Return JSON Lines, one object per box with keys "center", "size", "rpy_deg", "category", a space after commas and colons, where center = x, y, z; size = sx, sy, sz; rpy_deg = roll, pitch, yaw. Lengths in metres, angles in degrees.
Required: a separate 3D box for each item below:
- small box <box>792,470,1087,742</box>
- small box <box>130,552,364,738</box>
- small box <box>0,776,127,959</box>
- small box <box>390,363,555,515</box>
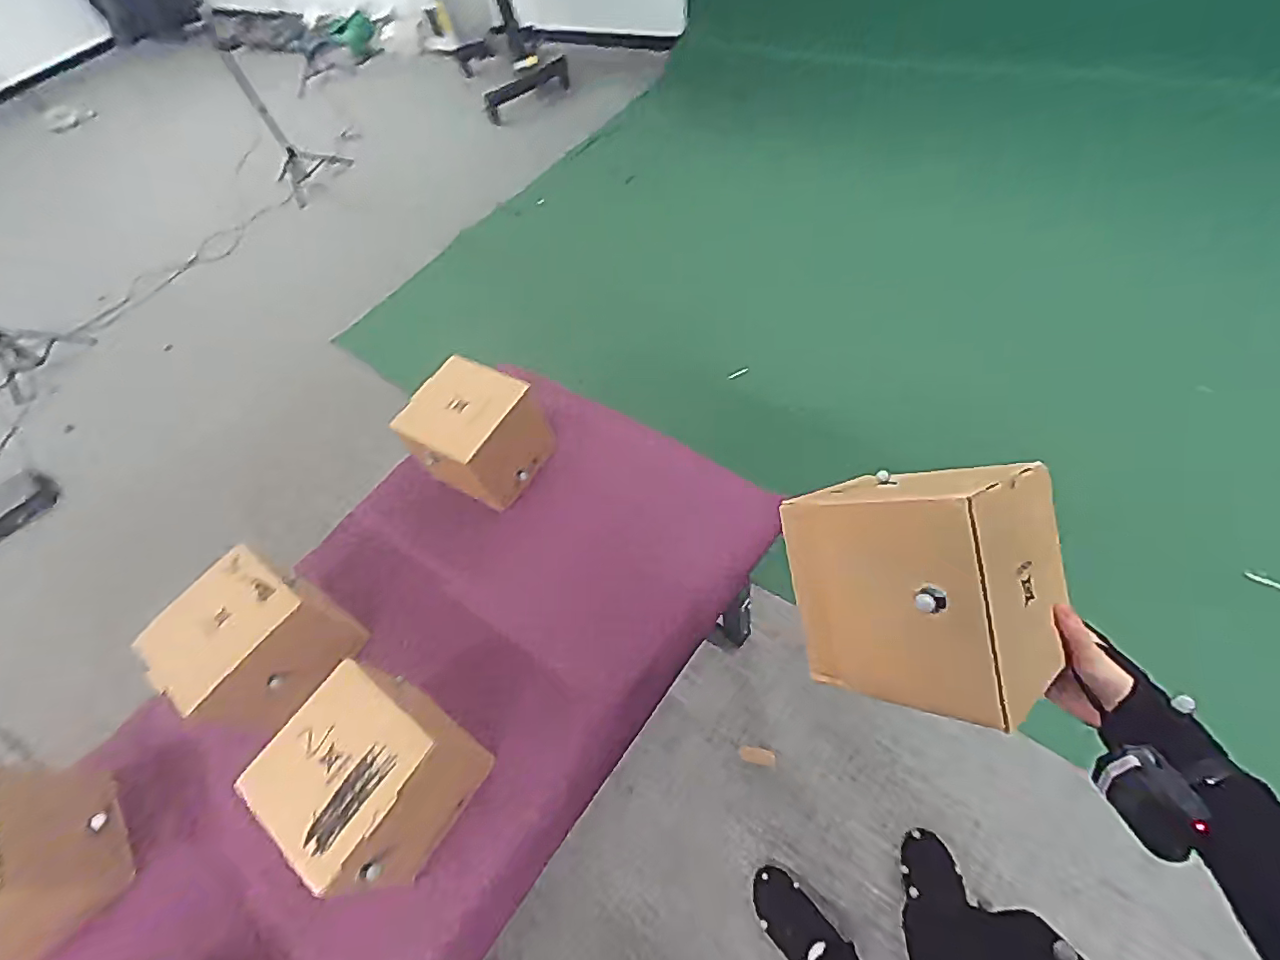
{"center": [0.261, 0.093, 0.484], "size": [0.168, 0.176, 0.179], "rpy_deg": [-11, 92, -38], "category": "small box"}
{"center": [-0.543, 0.240, 0.771], "size": [0.168, 0.176, 0.179], "rpy_deg": [28, 67, 24], "category": "small box"}
{"center": [-0.784, 0.492, 0.646], "size": [0.179, 0.176, 0.168], "rpy_deg": [-39, 60, -17], "category": "small box"}
{"center": [-0.275, -0.064, 0.922], "size": [0.179, 0.176, 0.168], "rpy_deg": [24, 66, 22], "category": "small box"}
